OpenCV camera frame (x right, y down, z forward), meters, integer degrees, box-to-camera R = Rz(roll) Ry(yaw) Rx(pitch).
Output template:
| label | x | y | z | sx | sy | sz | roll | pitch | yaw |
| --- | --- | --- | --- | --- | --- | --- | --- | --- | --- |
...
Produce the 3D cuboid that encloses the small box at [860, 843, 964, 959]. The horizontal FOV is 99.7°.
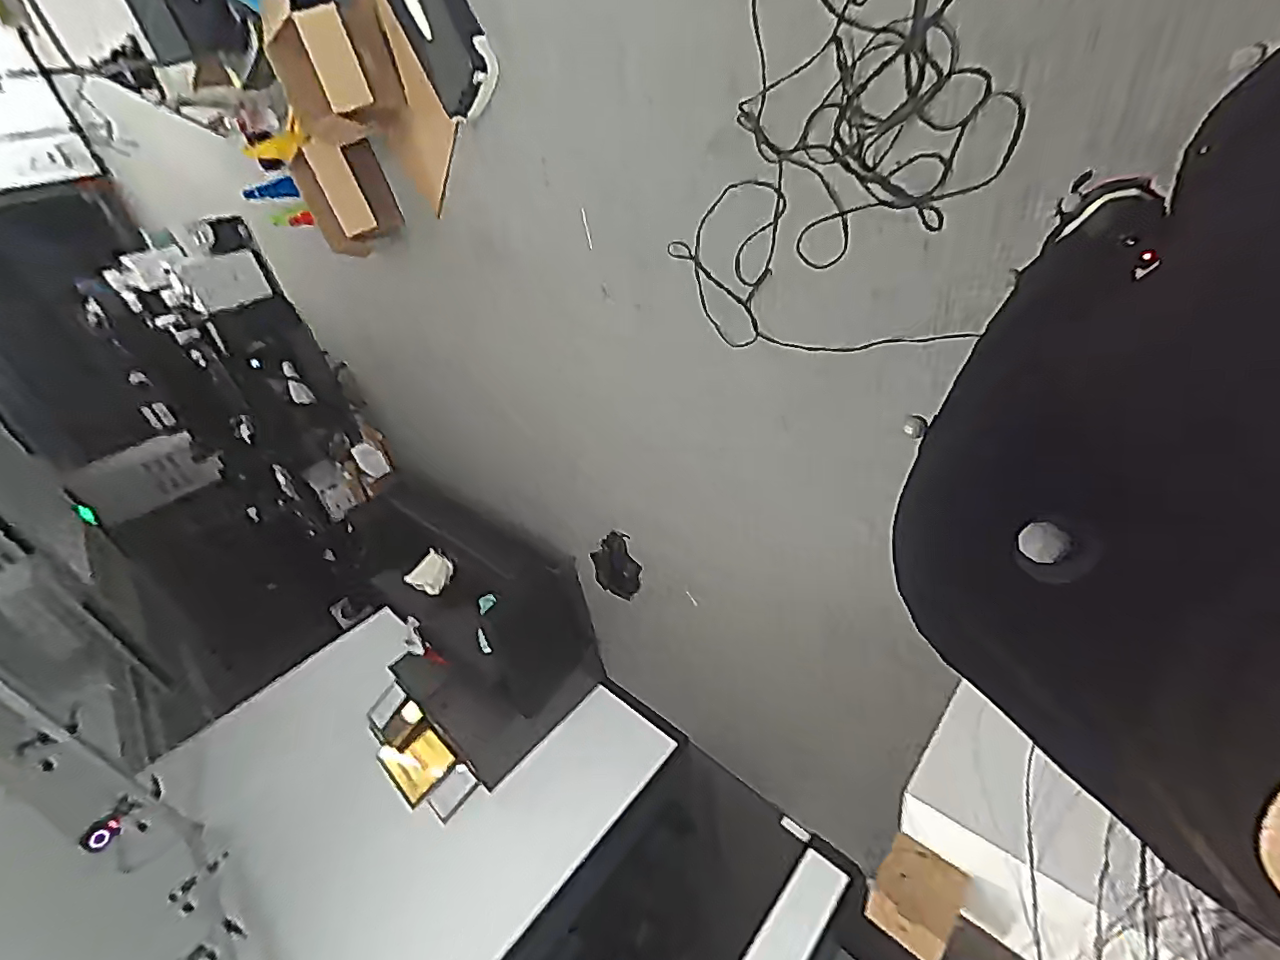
| label | x | y | z | sx | sy | sz | roll | pitch | yaw |
| --- | --- | --- | --- | --- | --- | --- | --- | --- | --- |
| small box | 0.652 | 1.026 | 1.296 | 0.168 | 0.176 | 0.179 | 22 | 135 | 40 |
